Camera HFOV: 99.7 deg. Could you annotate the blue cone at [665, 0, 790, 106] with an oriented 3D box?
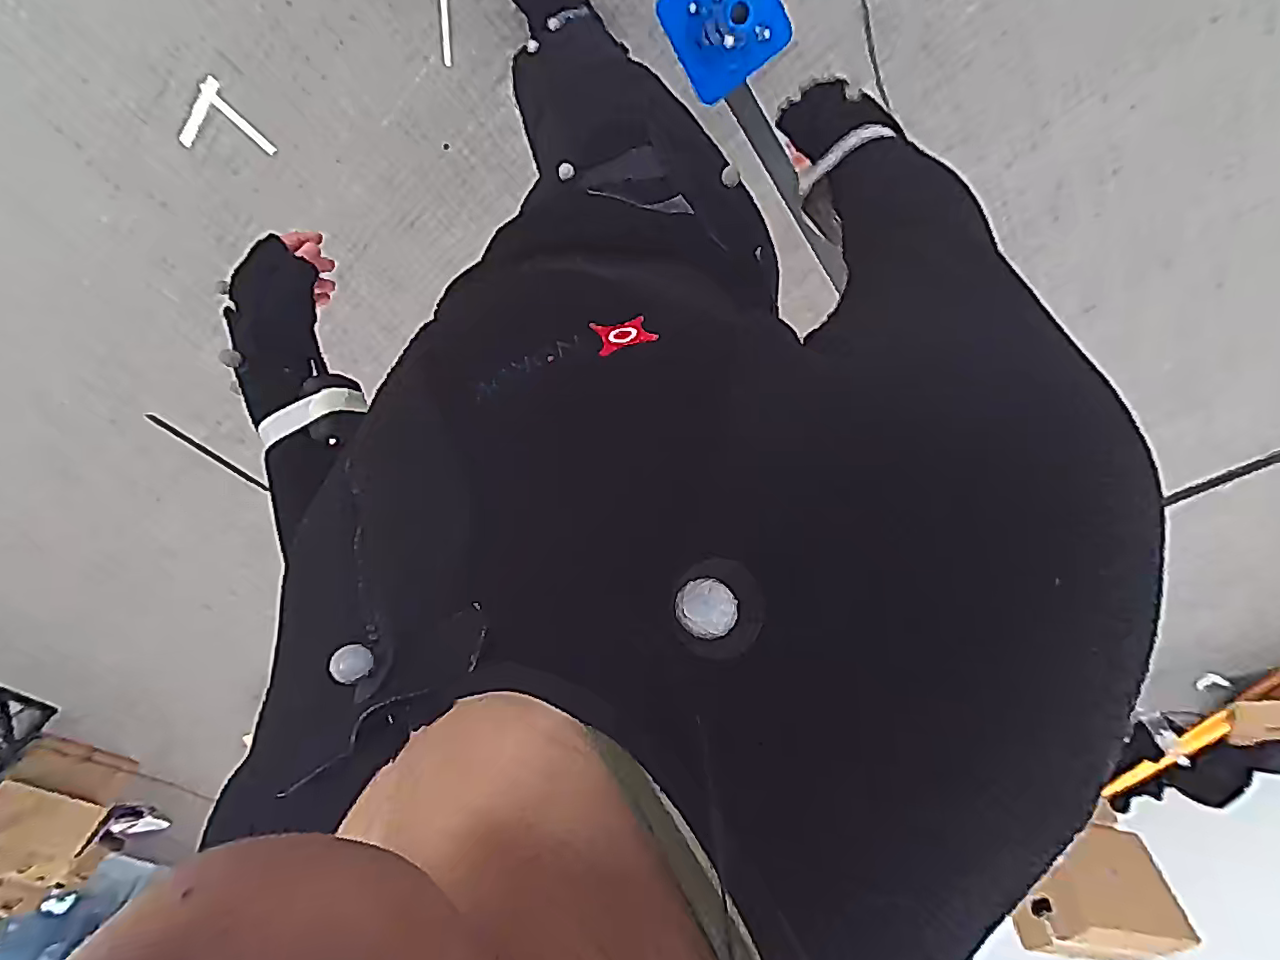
[{"bbox_3d":[0.152,-0.742,0.872,0.193,0.380,0.192,-29,121,23],"label":"blue cone"}]
